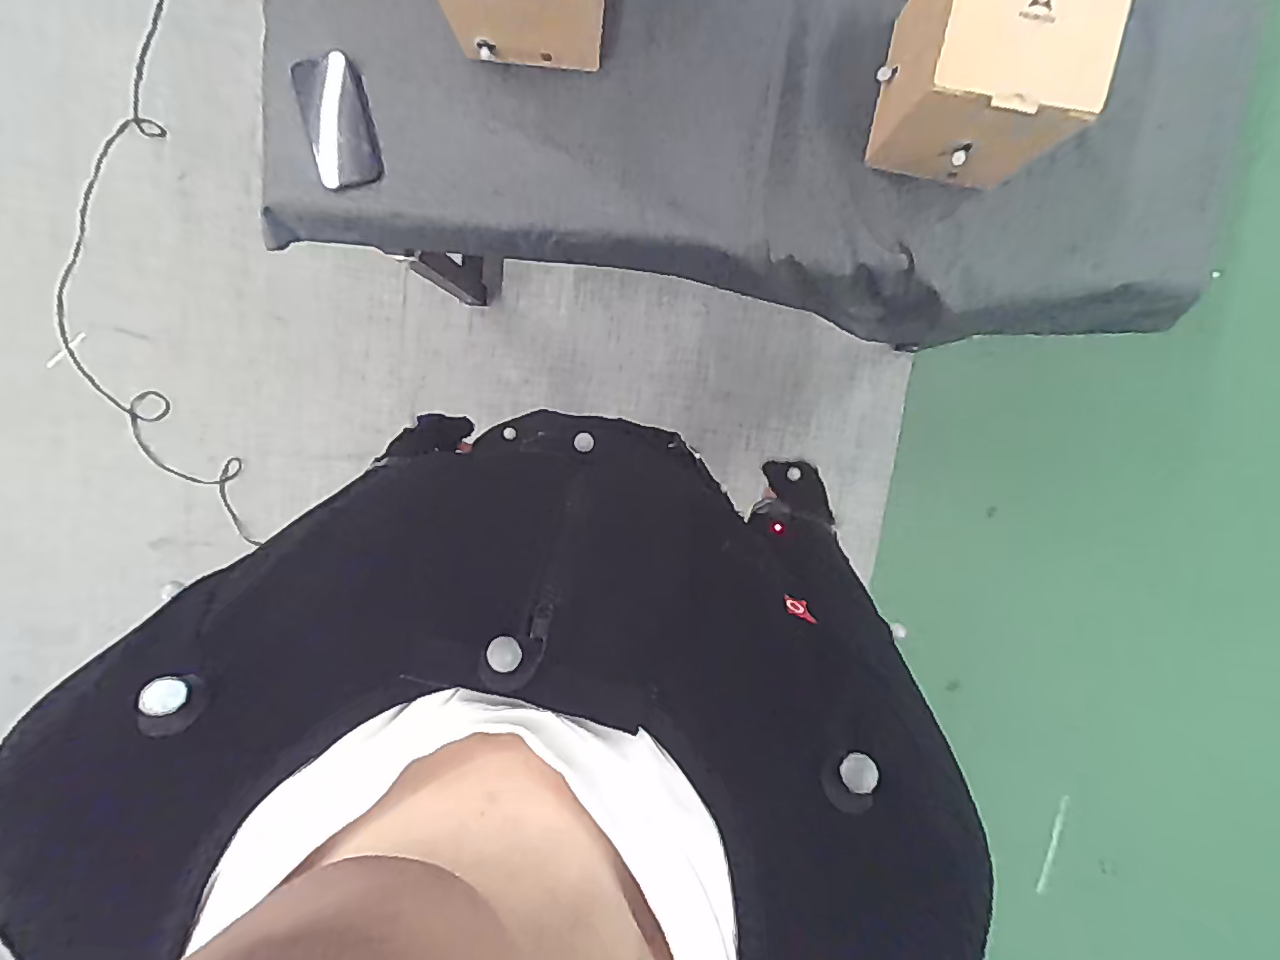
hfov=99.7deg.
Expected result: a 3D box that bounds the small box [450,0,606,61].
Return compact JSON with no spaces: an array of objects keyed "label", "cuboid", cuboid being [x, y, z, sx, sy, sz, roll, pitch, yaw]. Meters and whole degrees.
[{"label":"small box","cuboid":[-0.122,-0.598,0.581,0.168,0.176,0.179,5,96,-1]}]

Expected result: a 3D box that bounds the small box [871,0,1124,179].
[{"label":"small box","cuboid":[0.377,-0.464,0.595,0.168,0.176,0.179,10,97,-1]}]
